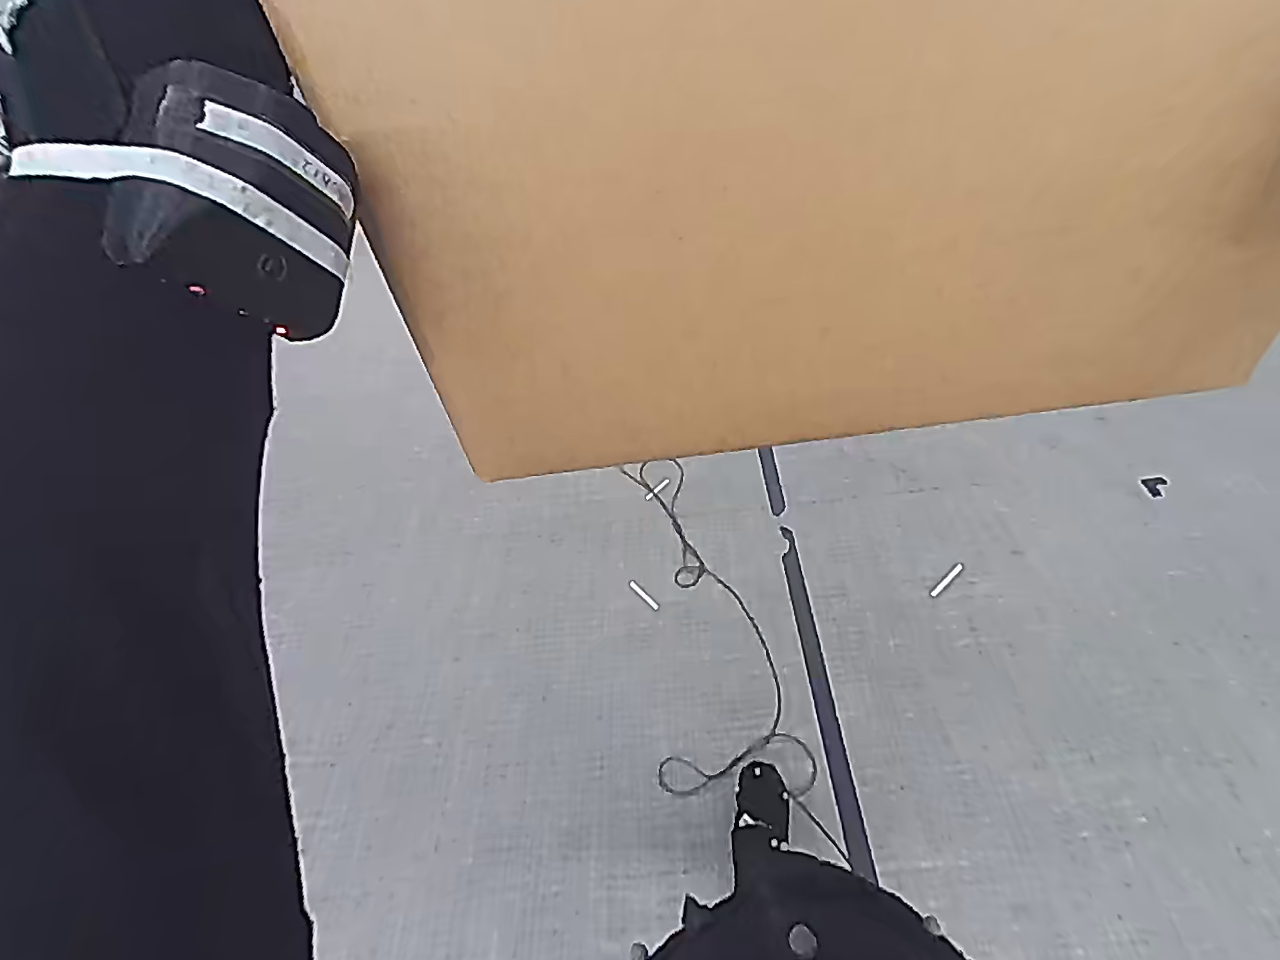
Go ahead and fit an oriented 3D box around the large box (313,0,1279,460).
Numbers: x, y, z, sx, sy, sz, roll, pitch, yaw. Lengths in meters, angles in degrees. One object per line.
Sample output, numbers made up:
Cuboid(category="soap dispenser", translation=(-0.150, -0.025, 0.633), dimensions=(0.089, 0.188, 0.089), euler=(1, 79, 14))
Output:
Cuboid(category="large box", translation=(0.081, -0.241, 0.323), dimensions=(0.408, 0.320, 0.320), euler=(-7, 40, 3))
